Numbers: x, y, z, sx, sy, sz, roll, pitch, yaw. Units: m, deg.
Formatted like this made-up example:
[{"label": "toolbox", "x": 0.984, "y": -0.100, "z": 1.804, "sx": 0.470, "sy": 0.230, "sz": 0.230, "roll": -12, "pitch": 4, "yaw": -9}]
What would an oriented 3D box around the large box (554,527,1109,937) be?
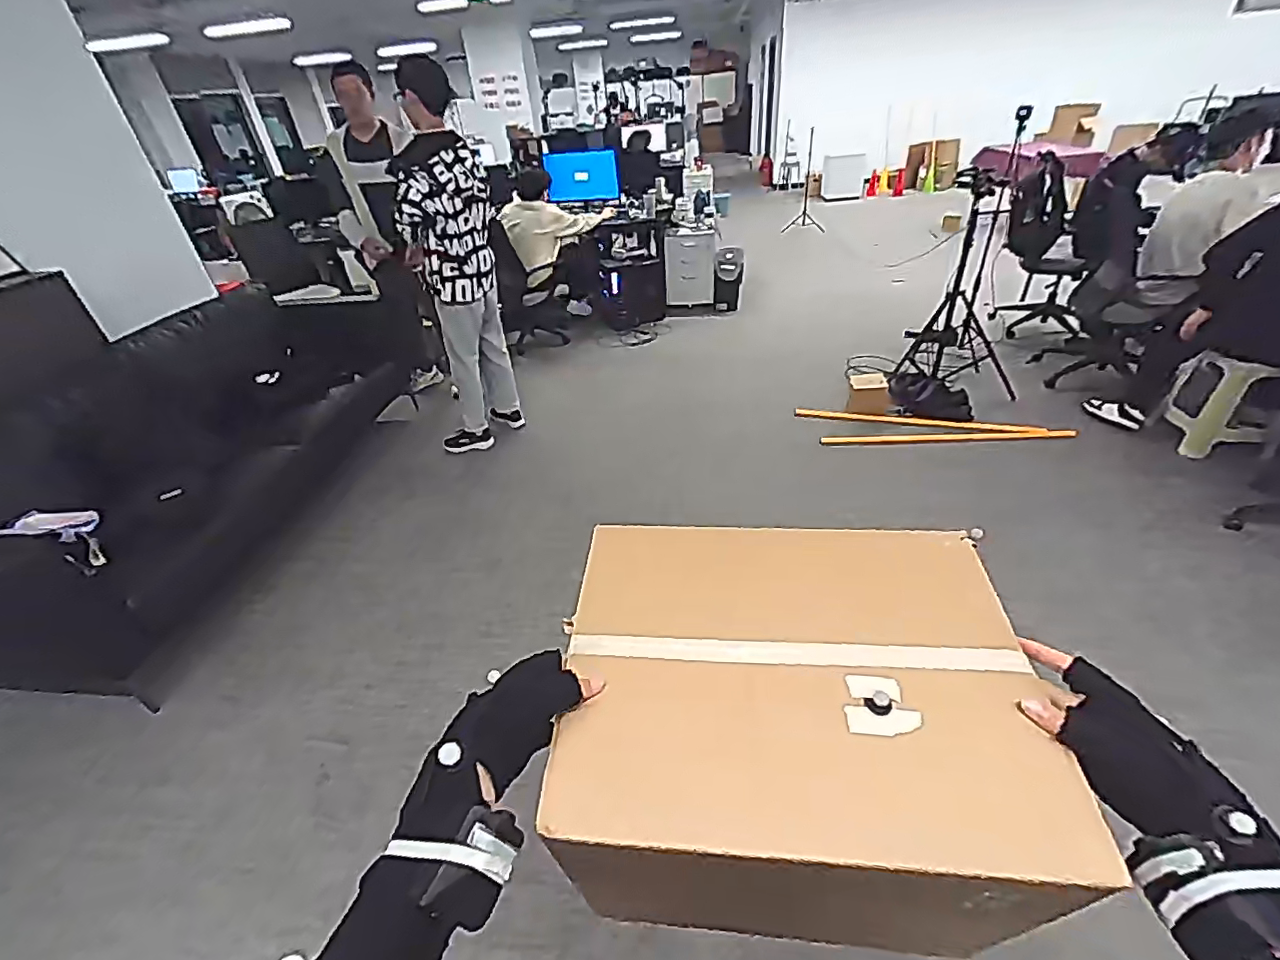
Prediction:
[{"label": "large box", "x": 0.148, "y": 0.268, "z": 0.598, "sx": 0.408, "sy": 0.320, "sz": 0.320, "roll": 1, "pitch": 43, "yaw": 6}]
